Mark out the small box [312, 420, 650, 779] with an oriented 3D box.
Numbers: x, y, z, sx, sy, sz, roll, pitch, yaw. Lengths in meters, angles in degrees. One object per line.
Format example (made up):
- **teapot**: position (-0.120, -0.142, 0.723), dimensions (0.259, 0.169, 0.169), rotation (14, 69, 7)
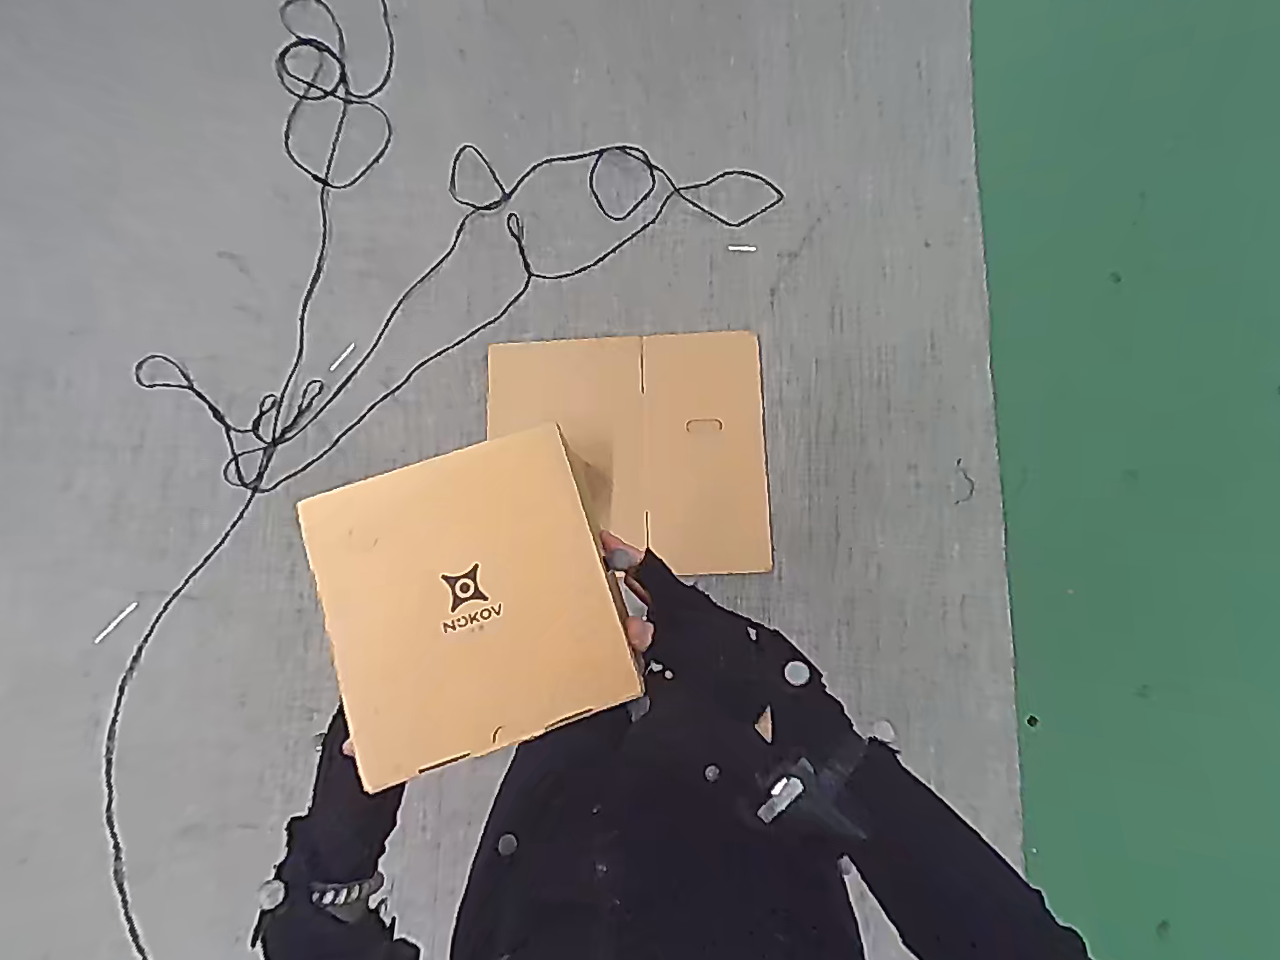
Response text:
- **small box**: position (-0.100, 0.079, 0.403), dimensions (0.168, 0.176, 0.179), rotation (-19, 83, -5)
